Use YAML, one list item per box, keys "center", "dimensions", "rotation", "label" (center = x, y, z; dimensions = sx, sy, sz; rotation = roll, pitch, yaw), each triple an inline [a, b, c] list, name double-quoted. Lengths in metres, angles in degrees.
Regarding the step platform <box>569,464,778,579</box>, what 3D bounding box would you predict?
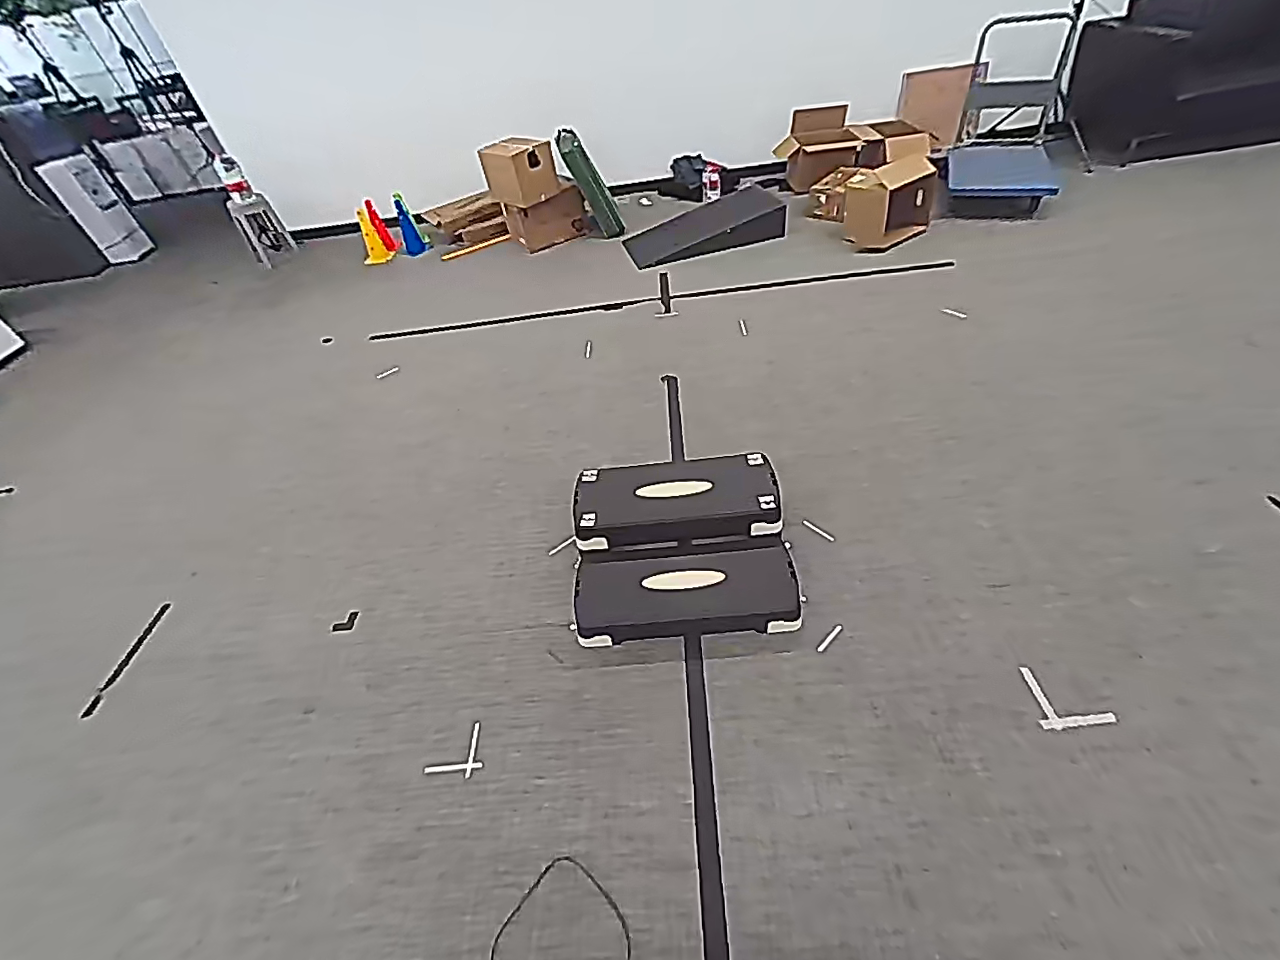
- center: [0.107, 0.133, 1.808]
  dimensions: [0.684, 0.204, 0.286]
  rotation: [-6, 45, 3]
  label: "step platform"
